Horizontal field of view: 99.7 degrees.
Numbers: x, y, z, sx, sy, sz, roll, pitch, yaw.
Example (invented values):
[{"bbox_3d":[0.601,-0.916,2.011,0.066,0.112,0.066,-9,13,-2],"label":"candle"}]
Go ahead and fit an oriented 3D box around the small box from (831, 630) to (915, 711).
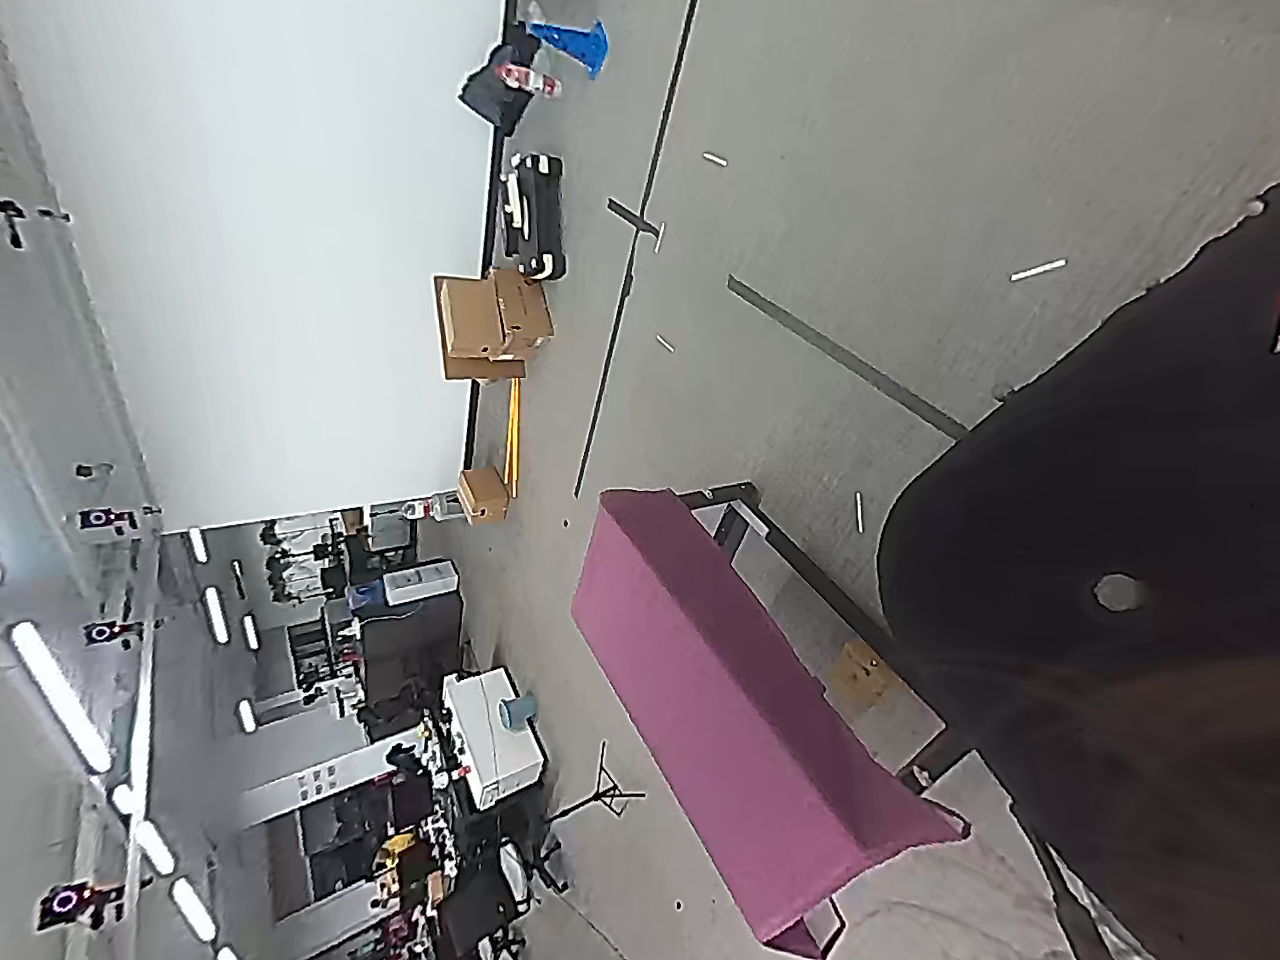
[{"bbox_3d":[0.798,0.647,1.847,0.168,0.176,0.179,48,136,39],"label":"small box"}]
